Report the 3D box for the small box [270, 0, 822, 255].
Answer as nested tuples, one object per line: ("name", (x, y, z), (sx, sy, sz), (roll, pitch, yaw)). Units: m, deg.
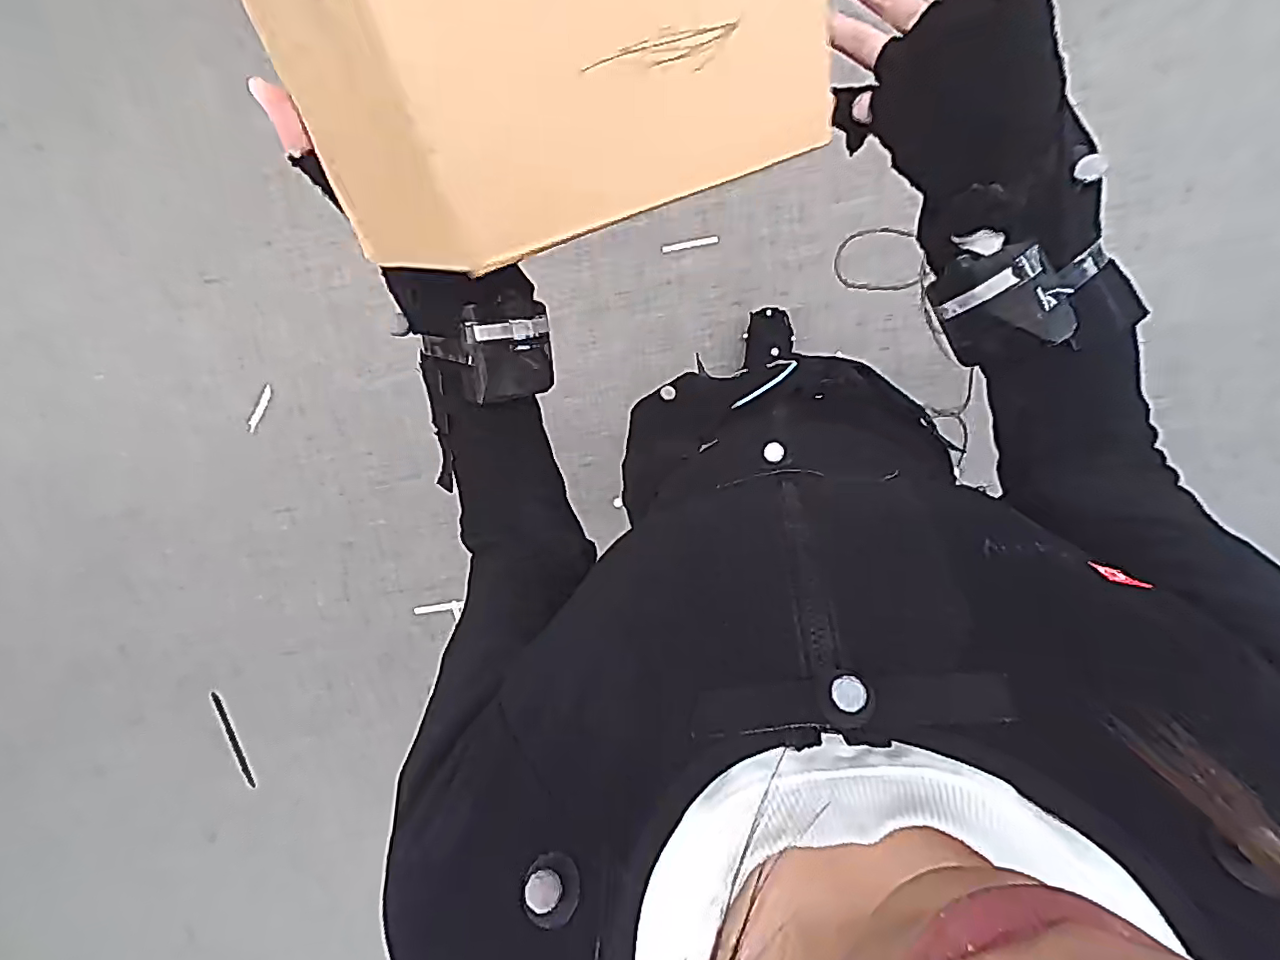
("small box", (-0.049, -0.205, 0.224), (0.168, 0.176, 0.179), (-31, 125, -24))
